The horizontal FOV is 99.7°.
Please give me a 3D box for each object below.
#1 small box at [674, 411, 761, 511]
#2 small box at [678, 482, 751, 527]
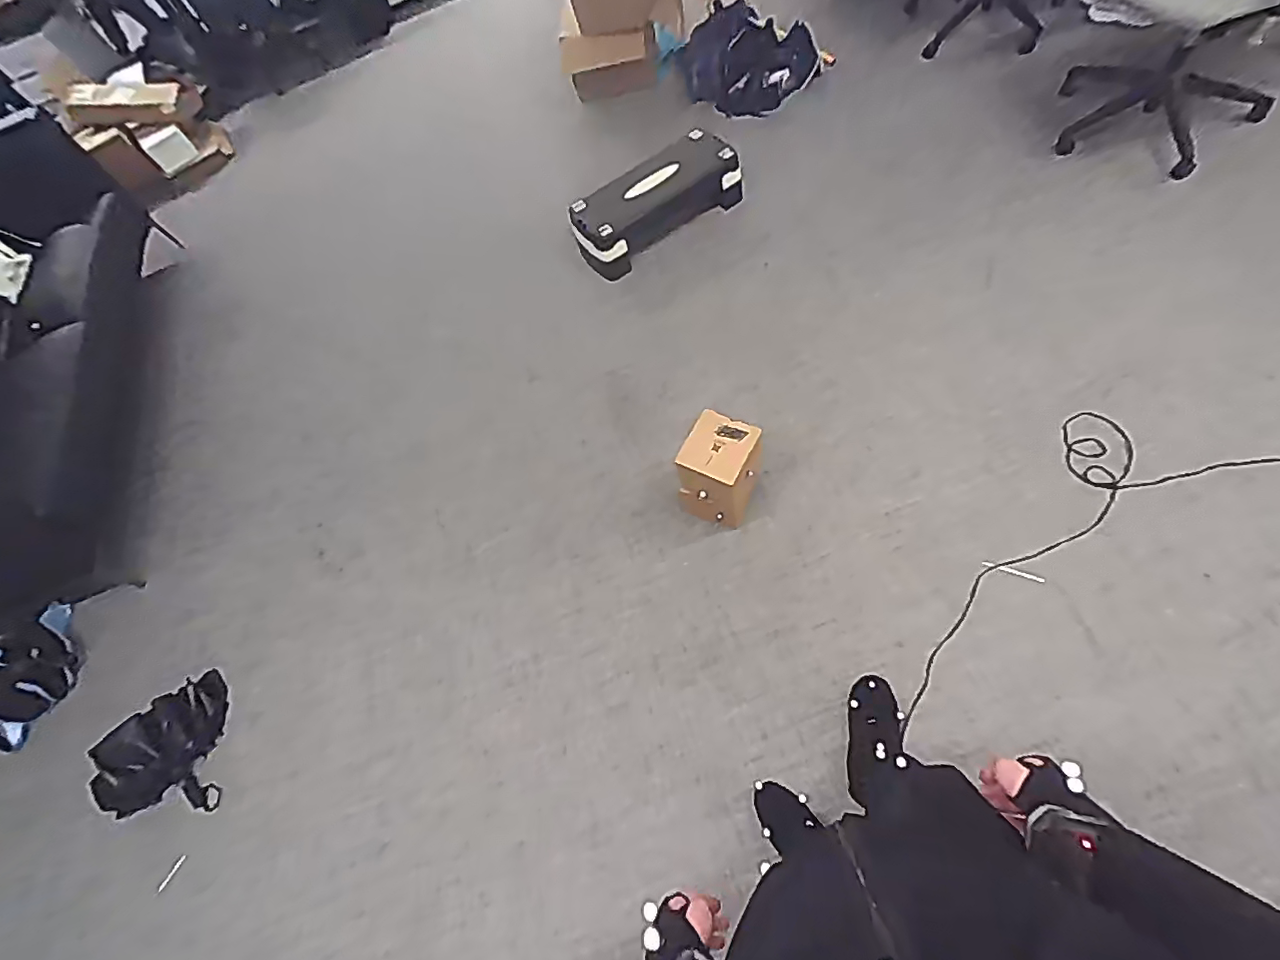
[{"bbox_3d":[0.210,-0.047,1.438,0.168,0.176,0.179,24,72,22],"label":"small box"},{"bbox_3d":[0.228,0.018,1.589,0.168,0.176,0.179,17,68,19],"label":"small box"}]
